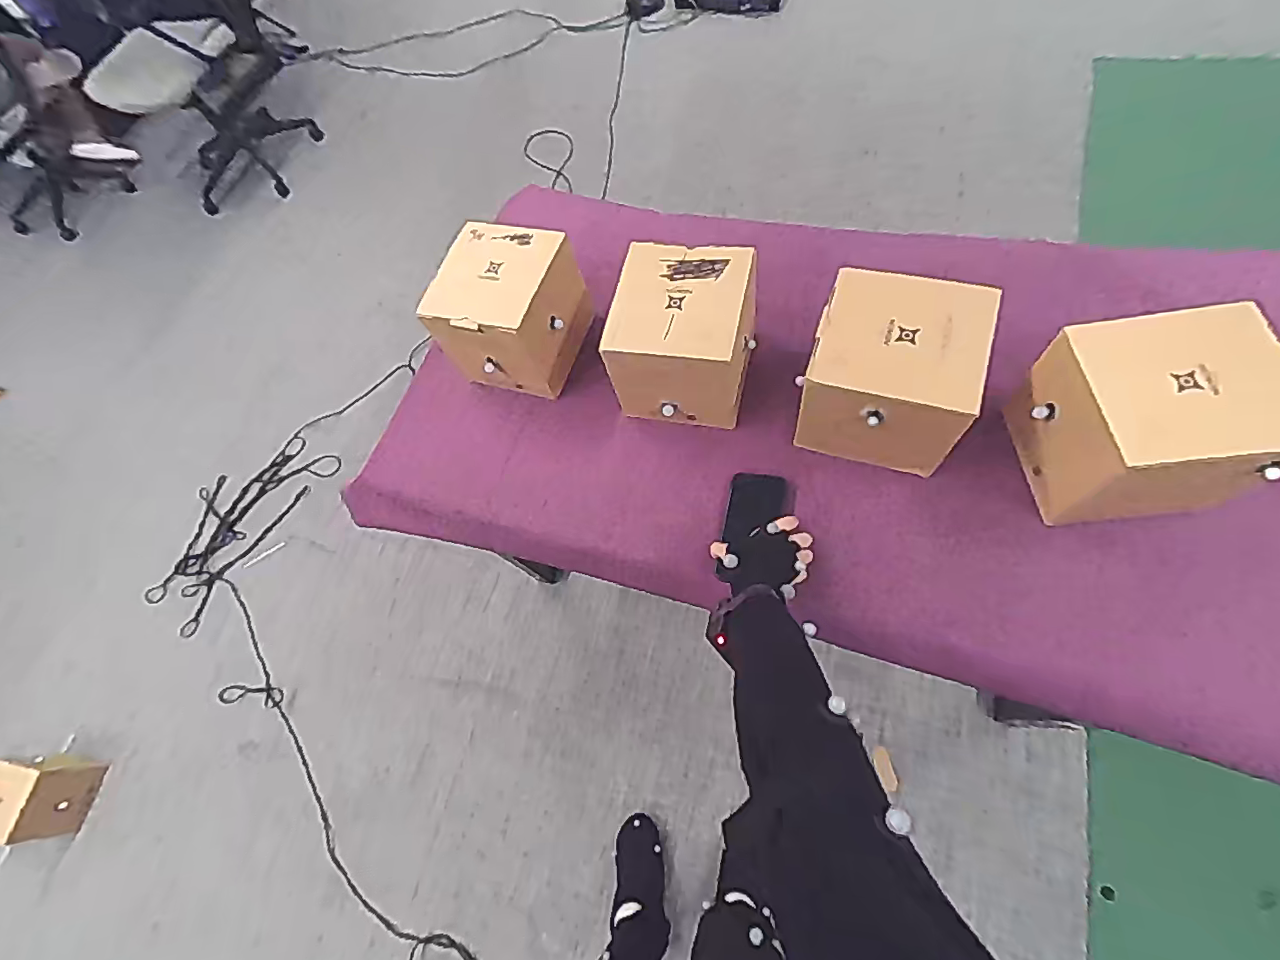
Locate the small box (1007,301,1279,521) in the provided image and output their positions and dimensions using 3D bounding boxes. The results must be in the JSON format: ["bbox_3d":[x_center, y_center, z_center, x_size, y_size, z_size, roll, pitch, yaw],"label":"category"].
[{"bbox_3d":[0.538,-0.063,0.589,0.179,0.176,0.168,-7,64,8],"label":"small box"}]

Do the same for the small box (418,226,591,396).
[{"bbox_3d":[-0.191,-0.250,0.821,0.168,0.176,0.179,14,70,17],"label":"small box"}]

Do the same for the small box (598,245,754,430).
[{"bbox_3d":[0.059,-0.192,0.744,0.168,0.176,0.179,9,69,15],"label":"small box"}]

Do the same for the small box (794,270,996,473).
[{"bbox_3d":[0.299,-0.127,0.667,0.179,0.176,0.168,17,71,17],"label":"small box"}]

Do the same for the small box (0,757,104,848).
[{"bbox_3d":[-1.588,0.835,1.421,0.179,0.176,0.168,4,68,14],"label":"small box"}]
